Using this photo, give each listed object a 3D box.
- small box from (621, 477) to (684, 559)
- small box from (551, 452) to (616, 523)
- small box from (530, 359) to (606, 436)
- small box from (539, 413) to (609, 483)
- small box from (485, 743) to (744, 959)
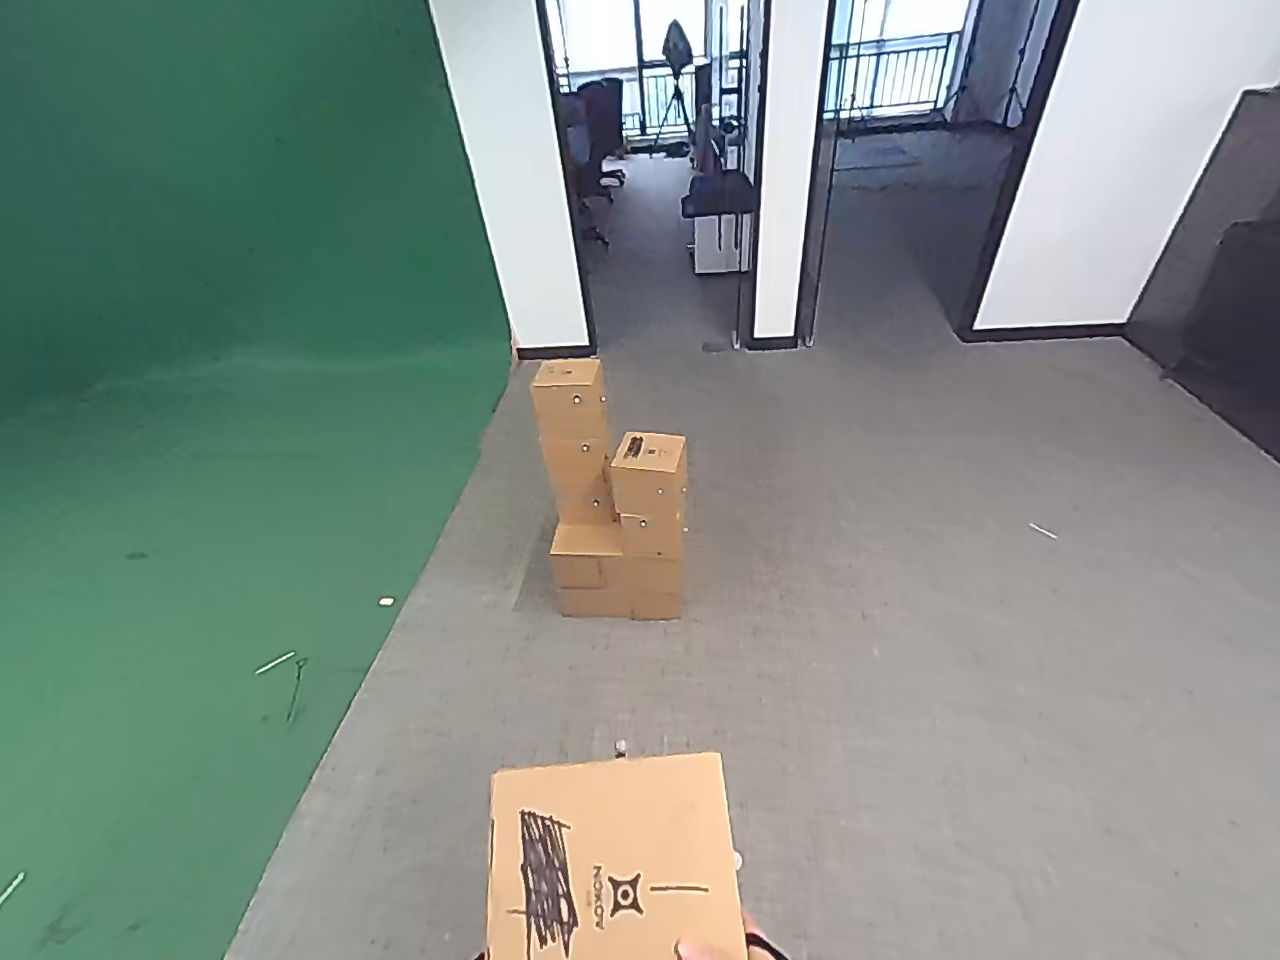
[{"bbox_3d":[0.042,0.113,1.620,0.168,0.176,0.179,2,39,9],"label":"small box"},{"bbox_3d":[-0.176,0.027,1.760,0.179,0.176,0.168,-2,37,6],"label":"small box"},{"bbox_3d":[-0.200,-0.236,1.567,0.179,0.176,0.168,0,36,7],"label":"small box"},{"bbox_3d":[-0.196,-0.103,1.664,0.179,0.176,0.168,0,37,5],"label":"small box"},{"bbox_3d":[-0.018,0.317,0.450,0.179,0.176,0.168,-4,64,-1],"label":"small box"}]
